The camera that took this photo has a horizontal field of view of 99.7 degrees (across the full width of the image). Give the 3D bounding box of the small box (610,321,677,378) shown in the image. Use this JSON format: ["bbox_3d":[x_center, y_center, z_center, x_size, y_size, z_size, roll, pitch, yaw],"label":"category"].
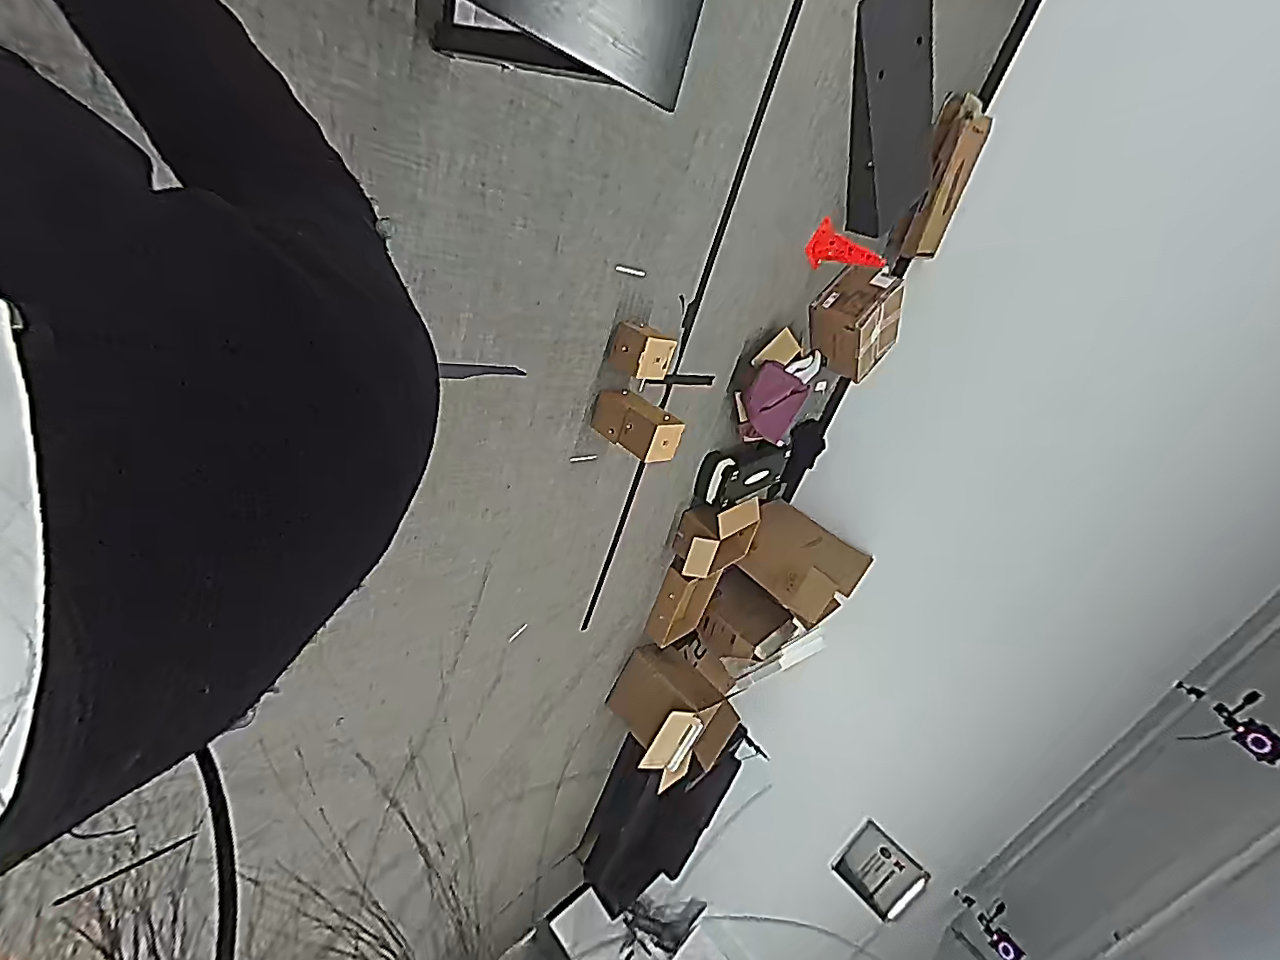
[{"bbox_3d":[0.009,-0.513,2.122,0.179,0.176,0.168,-8,127,-47],"label":"small box"}]

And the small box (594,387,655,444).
[{"bbox_3d":[-0.071,-0.271,2.253,0.168,0.176,0.179,-12,131,-46],"label":"small box"}]

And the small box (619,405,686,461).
[{"bbox_3d":[0.047,-0.193,2.173,0.179,0.176,0.168,-9,127,-46],"label":"small box"}]
